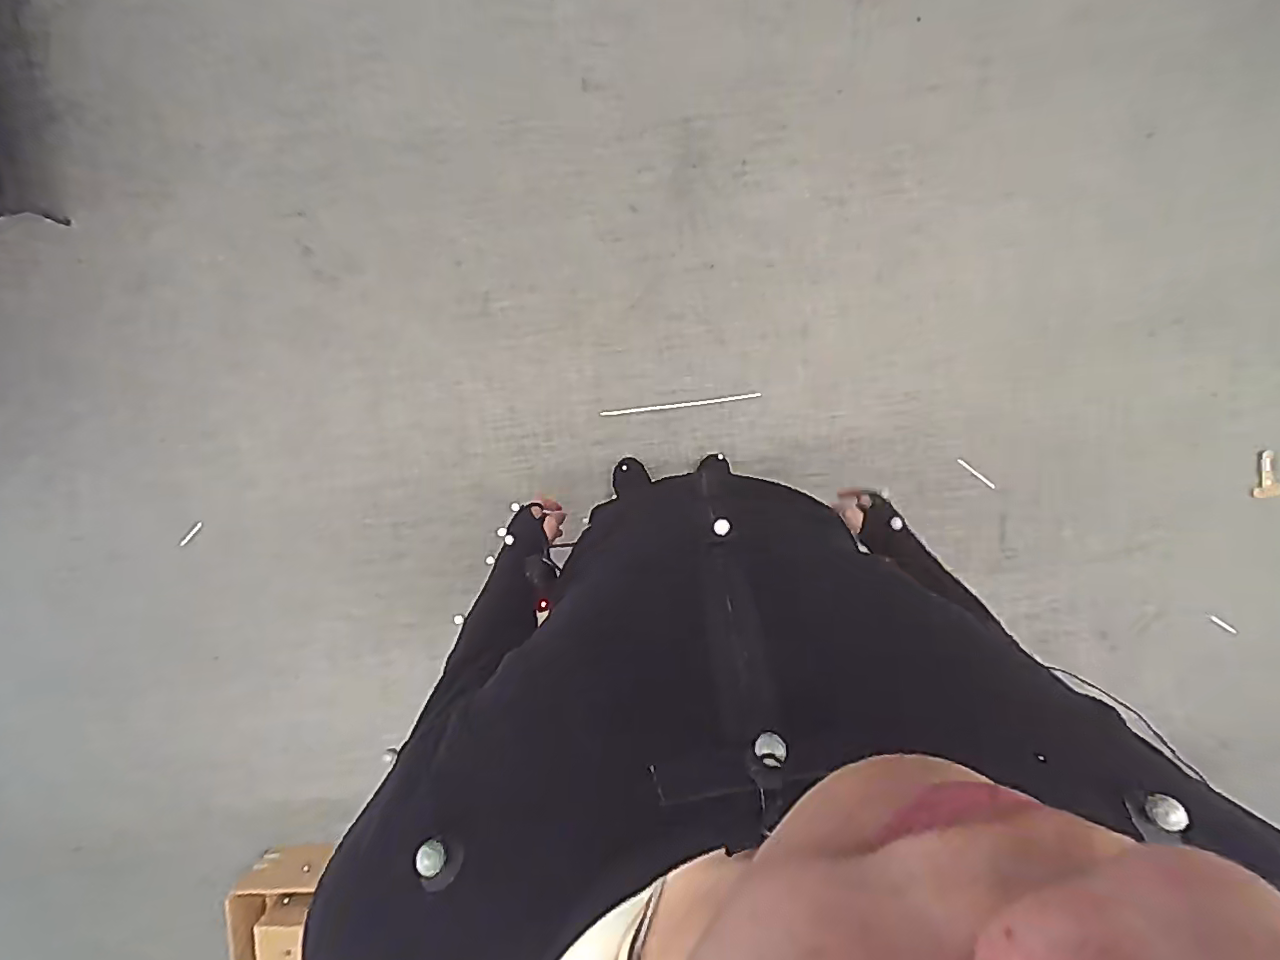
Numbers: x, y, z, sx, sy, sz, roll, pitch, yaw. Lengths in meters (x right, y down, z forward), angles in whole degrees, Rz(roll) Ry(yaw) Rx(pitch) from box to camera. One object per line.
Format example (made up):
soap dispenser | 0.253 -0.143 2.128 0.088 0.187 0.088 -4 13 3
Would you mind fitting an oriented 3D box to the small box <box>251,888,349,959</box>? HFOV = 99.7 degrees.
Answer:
small box | -0.982 1.329 1.573 0.179 0.176 0.168 -3 94 1
